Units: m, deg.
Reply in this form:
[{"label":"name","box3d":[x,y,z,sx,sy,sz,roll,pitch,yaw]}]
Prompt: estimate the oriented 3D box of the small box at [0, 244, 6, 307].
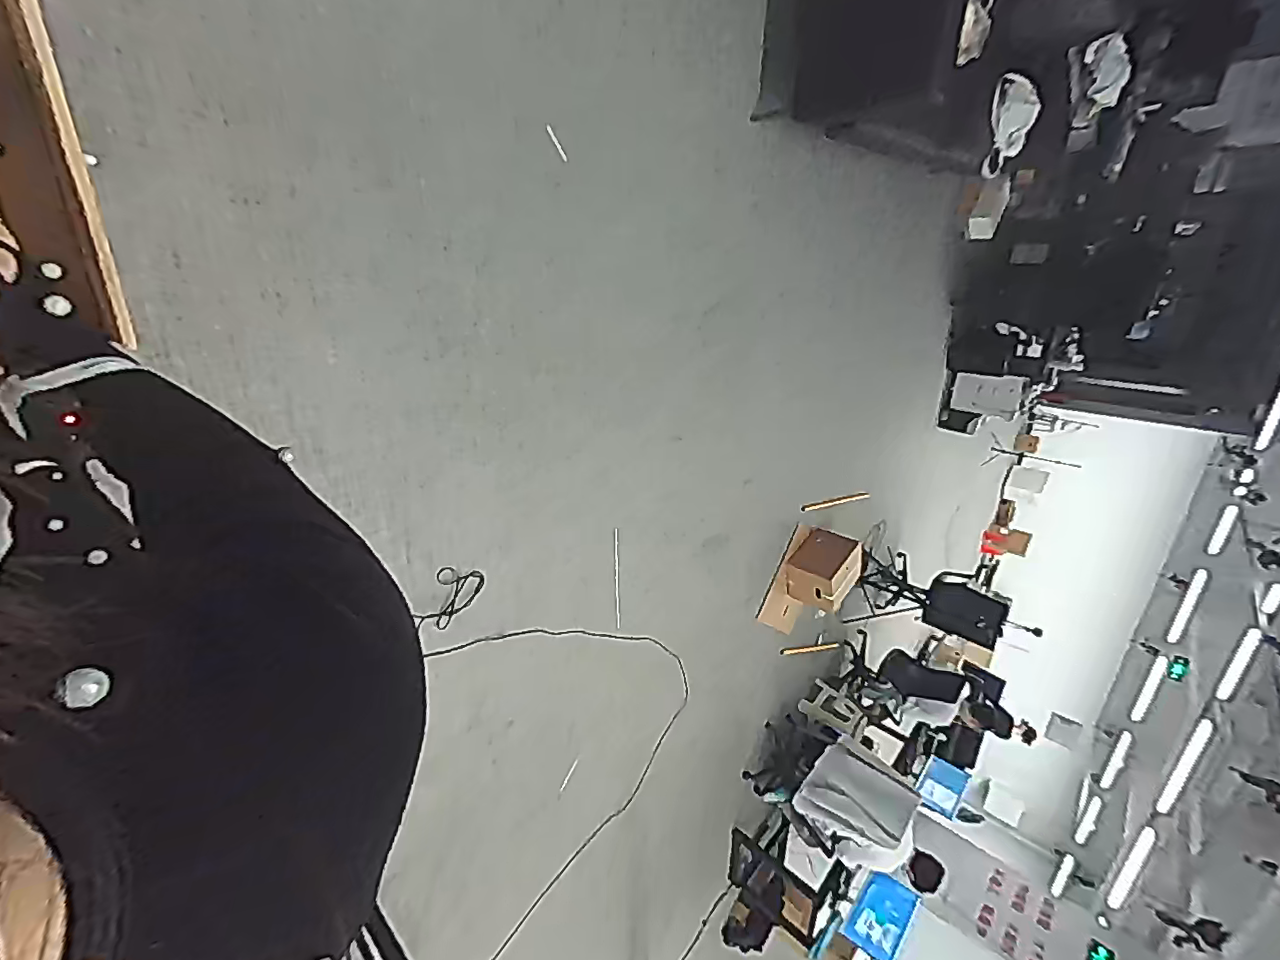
[{"label":"small box","box3d":[-0.647,-0.251,0.430,0.168,0.176,0.179,-9,94,-46]}]
